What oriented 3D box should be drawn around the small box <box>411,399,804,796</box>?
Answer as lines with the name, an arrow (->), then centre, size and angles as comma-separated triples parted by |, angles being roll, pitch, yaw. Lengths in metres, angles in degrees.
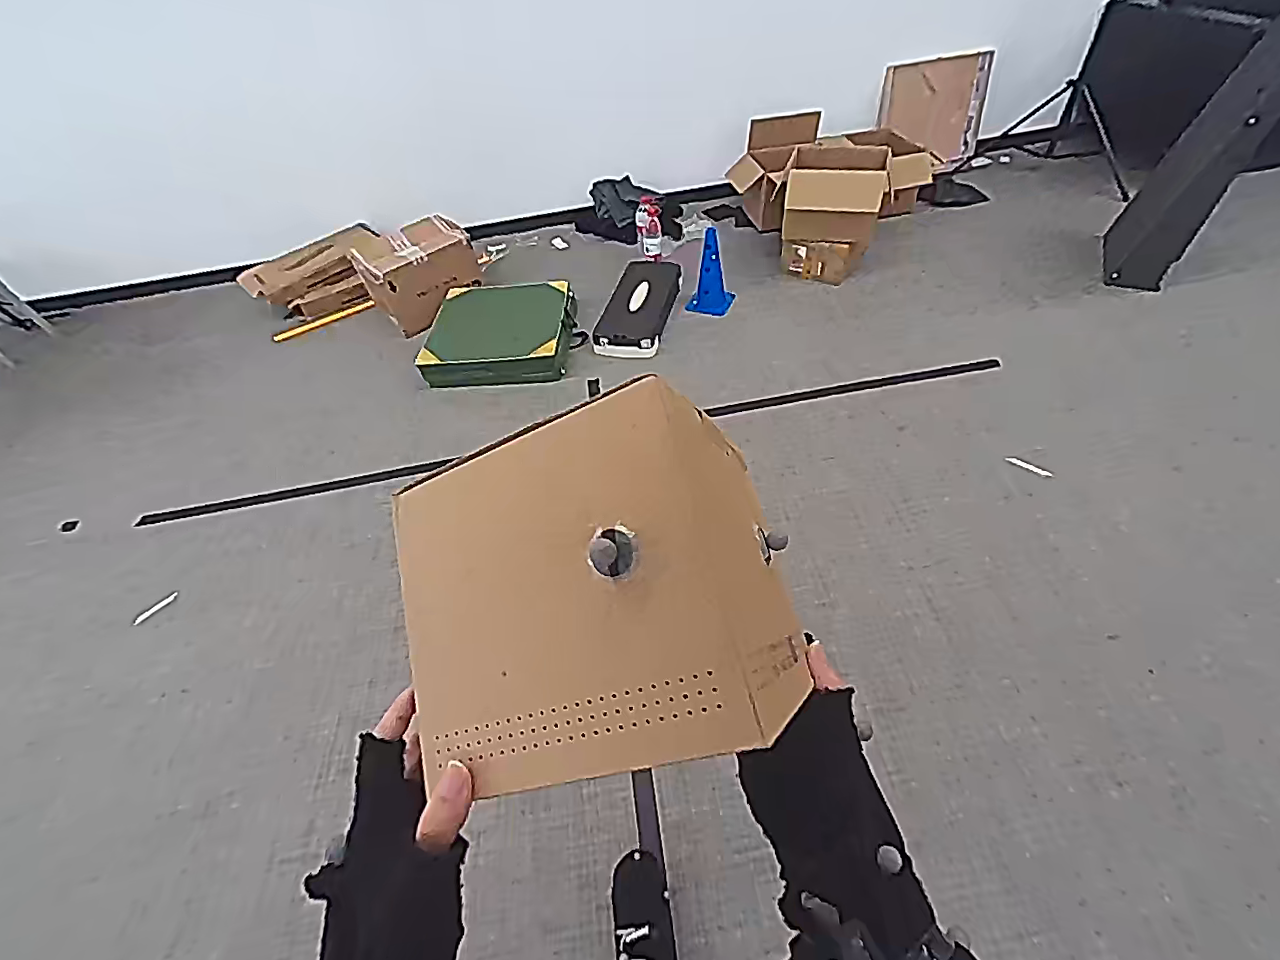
small box -> -0.012, 0.077, 0.346 | 0.179, 0.168, 0.176 | -22, 71, 20
